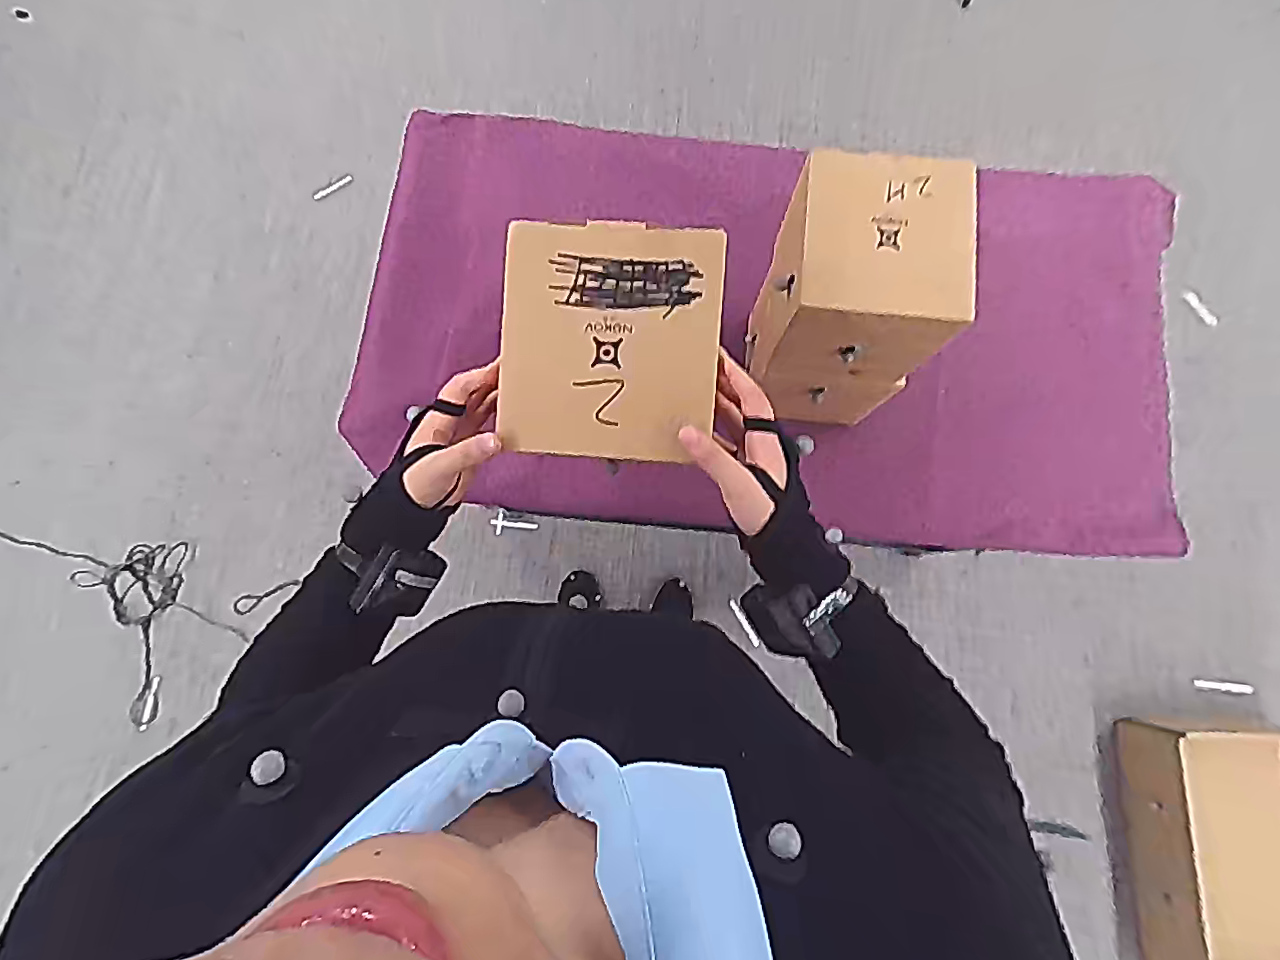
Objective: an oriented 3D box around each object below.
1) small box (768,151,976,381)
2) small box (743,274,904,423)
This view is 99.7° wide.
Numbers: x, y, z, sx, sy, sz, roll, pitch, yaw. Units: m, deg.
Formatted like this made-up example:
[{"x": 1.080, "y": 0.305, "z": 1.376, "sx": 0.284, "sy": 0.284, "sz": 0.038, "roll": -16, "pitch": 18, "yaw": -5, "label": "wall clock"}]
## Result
[{"x": 0.245, "y": -0.225, "z": 0.607, "sx": 0.168, "sy": 0.176, "sz": 0.179, "roll": 7, "pitch": 79, "yaw": 2, "label": "small box"}, {"x": 0.253, "y": -0.186, "z": 0.768, "sx": 0.179, "sy": 0.176, "sz": 0.168, "roll": 6, "pitch": 80, "yaw": 2, "label": "small box"}]
